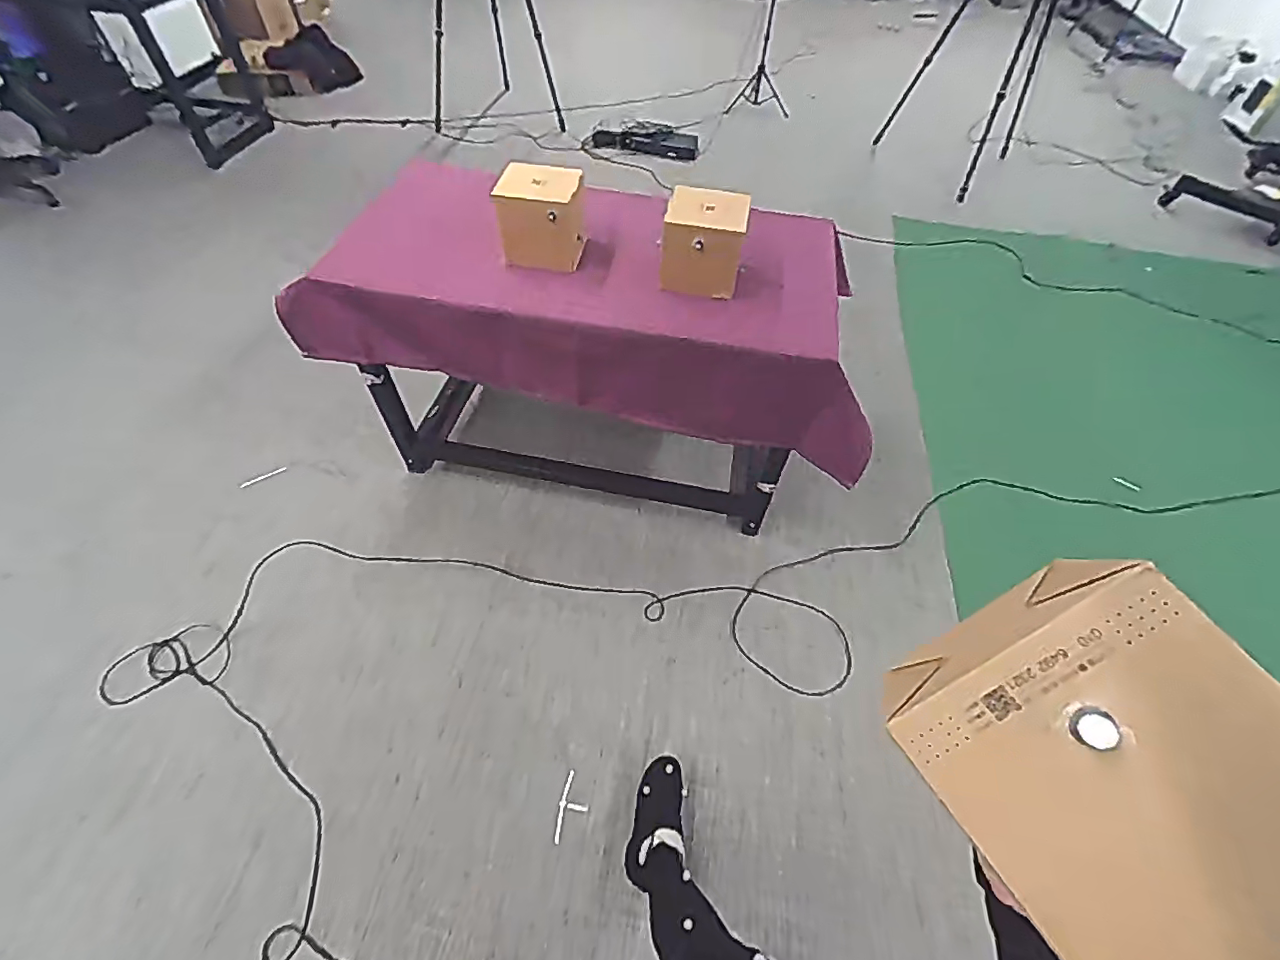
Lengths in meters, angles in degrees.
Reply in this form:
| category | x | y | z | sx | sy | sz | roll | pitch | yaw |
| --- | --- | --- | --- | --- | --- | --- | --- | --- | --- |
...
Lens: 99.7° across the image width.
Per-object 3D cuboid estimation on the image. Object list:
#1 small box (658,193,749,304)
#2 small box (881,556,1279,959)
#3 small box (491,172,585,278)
| category | x | y | z | sx | sy | sz | roll | pitch | yaw |
| --- | --- | --- | --- | --- | --- | --- | --- | --- | --- |
| small box | 0.142 | -0.526 | 1.236 | 0.179 | 0.176 | 0.168 | 11 | 53 | 5 |
| small box | 0.281 | 0.163 | 0.353 | 0.168 | 0.179 | 0.176 | -42 | 67 | 14 |
| small box | -0.233 | -0.601 | 1.280 | 0.179 | 0.176 | 0.168 | 7 | 52 | 2 |
